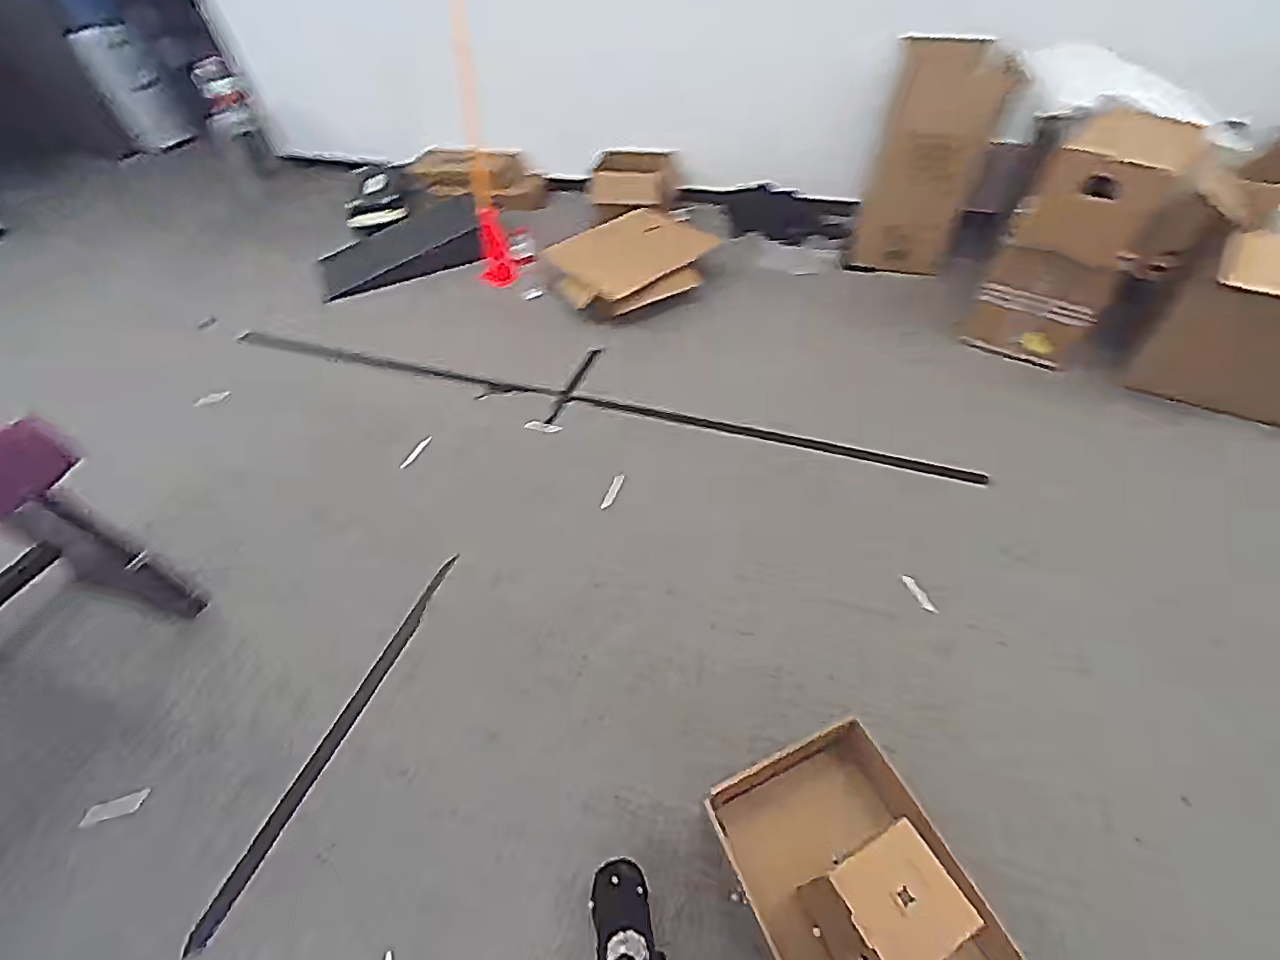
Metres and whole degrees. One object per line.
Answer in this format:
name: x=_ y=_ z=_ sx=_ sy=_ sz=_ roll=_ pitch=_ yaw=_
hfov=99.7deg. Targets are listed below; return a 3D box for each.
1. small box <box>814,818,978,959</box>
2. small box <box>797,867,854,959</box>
small box: x=0.422 y=0.722 z=0.929 sx=0.179 sy=0.176 sz=0.168 roll=-23 pitch=54 yaw=-16
small box: x=0.430 y=0.831 z=1.049 sx=0.179 sy=0.176 sz=0.168 roll=-21 pitch=52 yaw=-12
